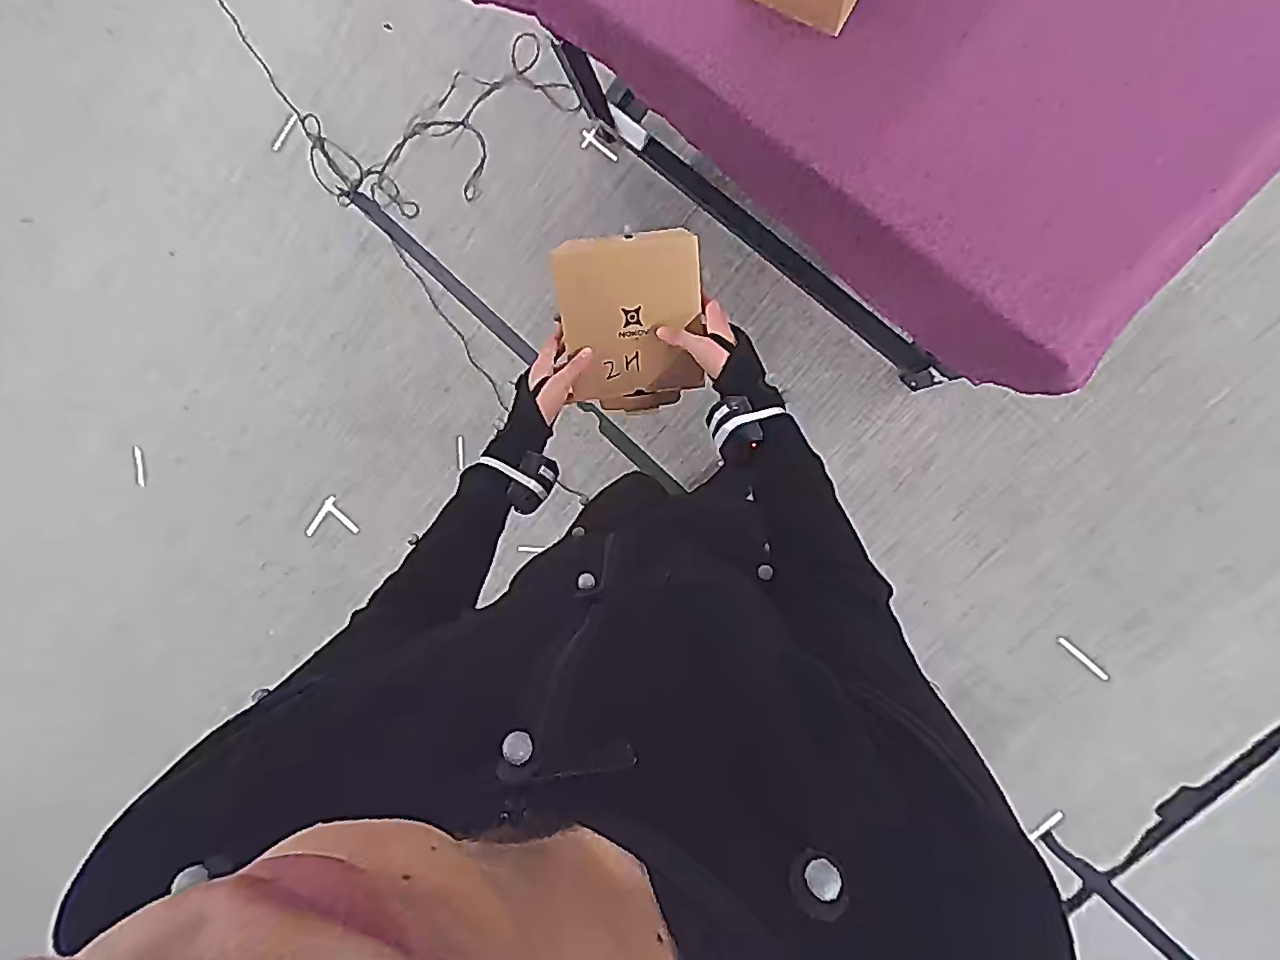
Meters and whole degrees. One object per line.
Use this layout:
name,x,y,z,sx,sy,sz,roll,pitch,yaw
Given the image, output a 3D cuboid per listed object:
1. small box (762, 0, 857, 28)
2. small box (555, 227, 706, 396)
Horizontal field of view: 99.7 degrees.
small box,0.234,-0.745,0.697,0.179,0.176,0.168,31,100,7
small box,-0.009,-0.223,0.694,0.168,0.176,0.179,-5,118,2
